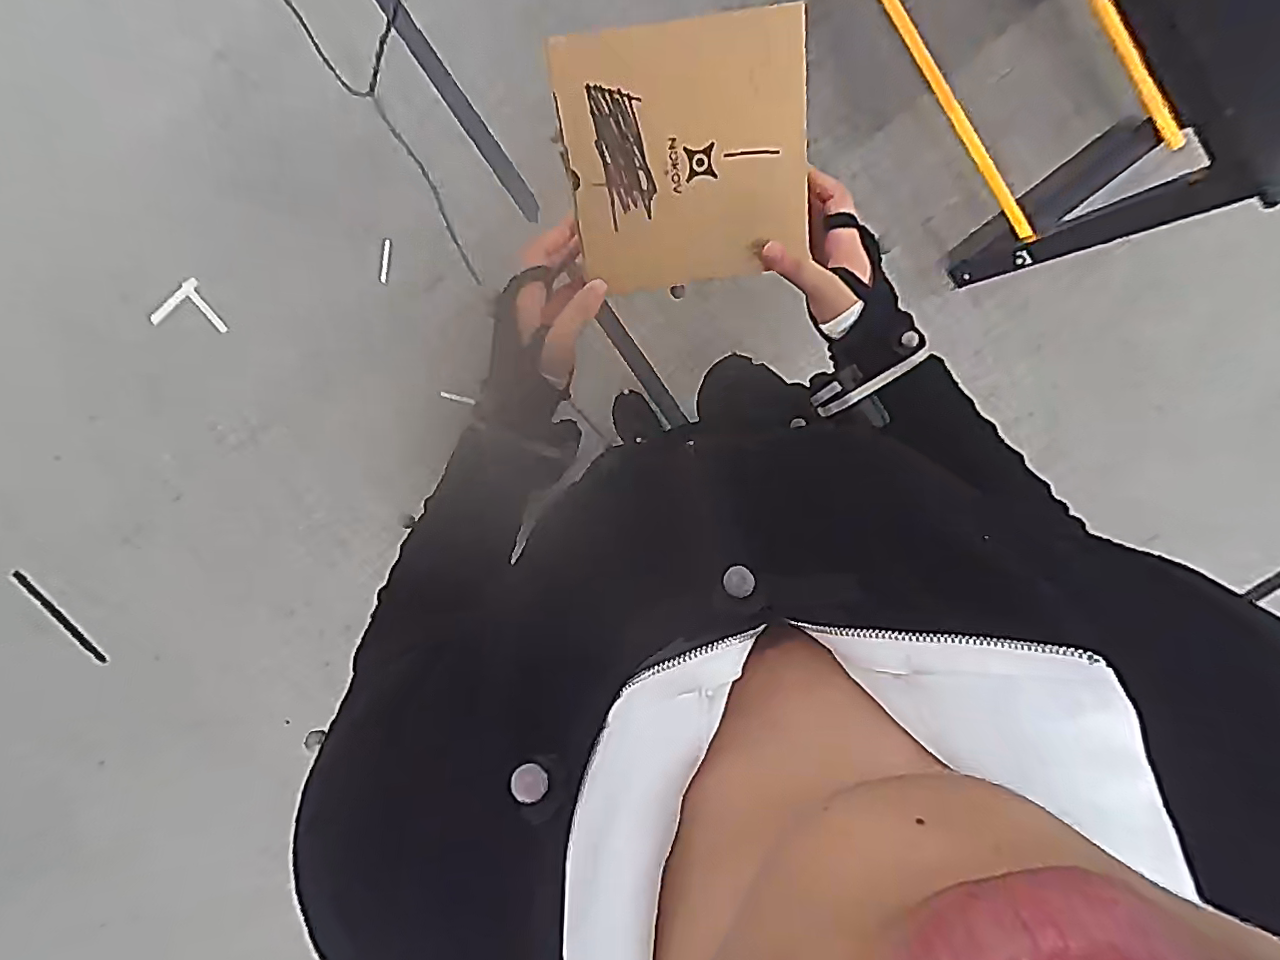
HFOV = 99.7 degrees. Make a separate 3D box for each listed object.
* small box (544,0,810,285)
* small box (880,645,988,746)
[{"bbox_3d":[0.028,-0.263,0.452,0.179,0.176,0.168,-9,114,-2],"label":"small box"},{"bbox_3d":[0.806,0.585,1.503,0.168,0.176,0.179,-34,98,7],"label":"small box"}]
